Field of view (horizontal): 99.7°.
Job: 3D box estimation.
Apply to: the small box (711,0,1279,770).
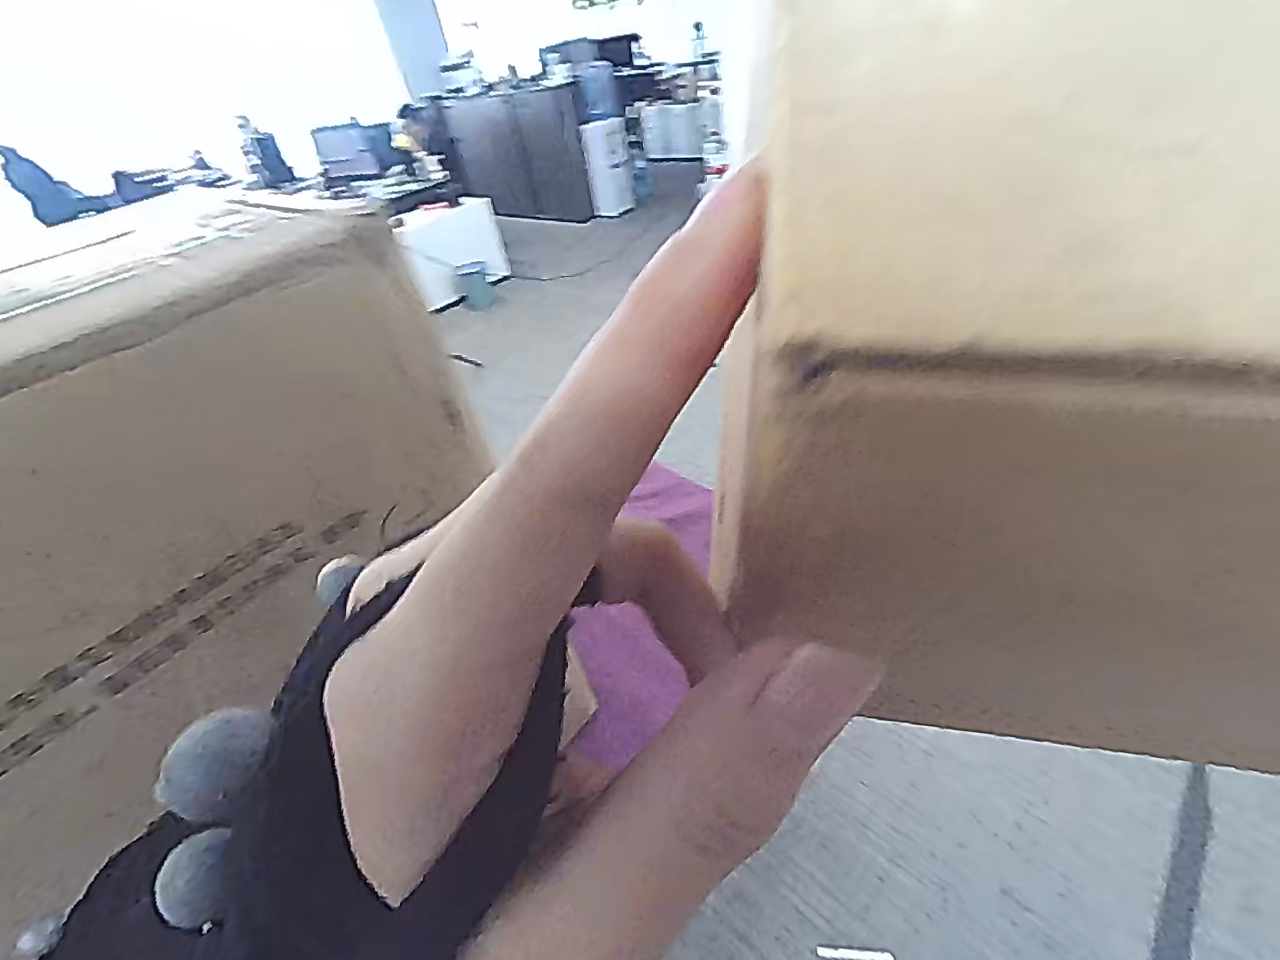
[{"bbox_3d":[0.115,-0.020,0.157,0.179,0.176,0.168,5,60,6],"label":"small box"}]
